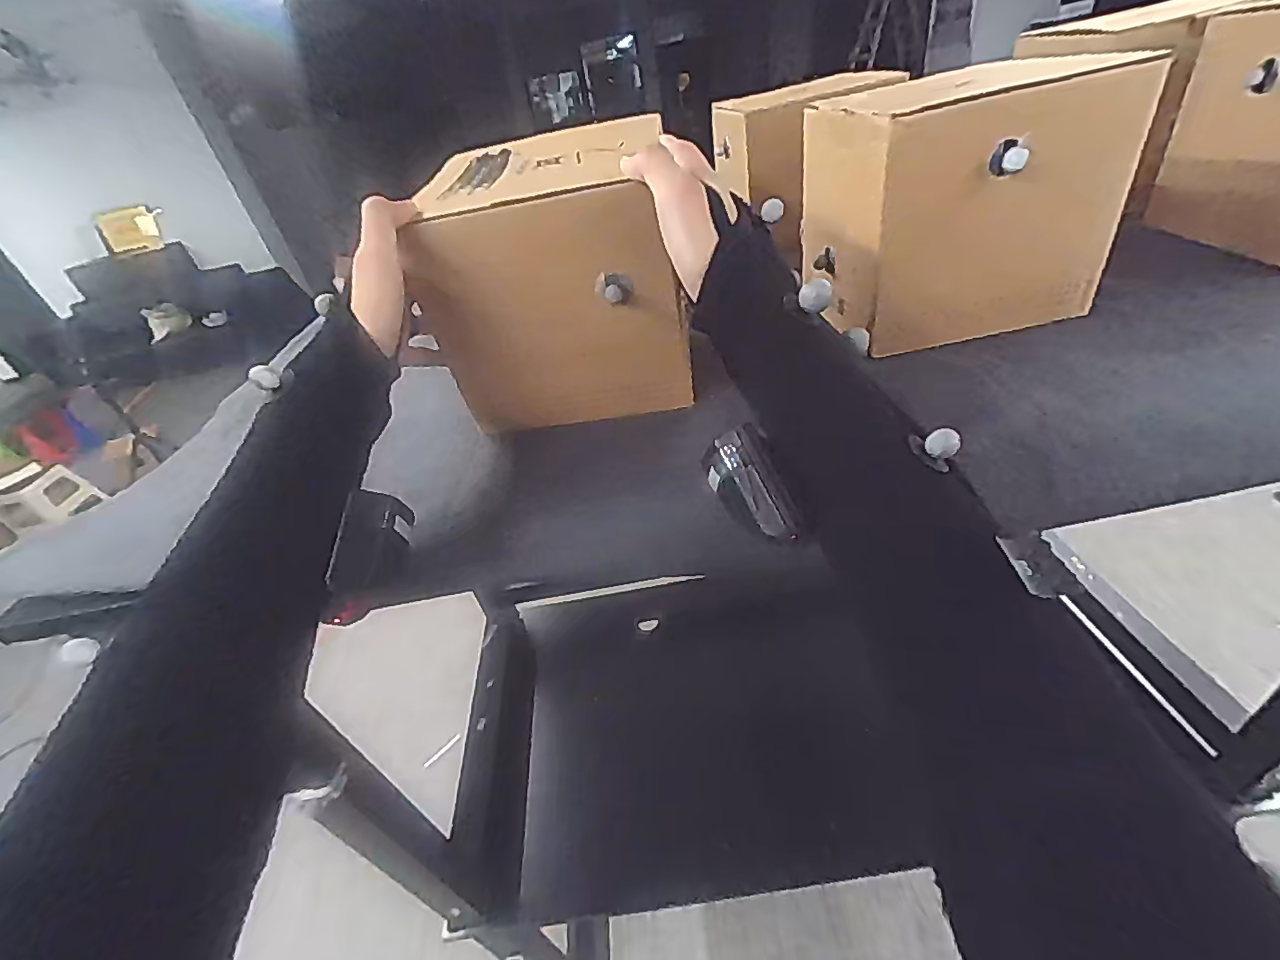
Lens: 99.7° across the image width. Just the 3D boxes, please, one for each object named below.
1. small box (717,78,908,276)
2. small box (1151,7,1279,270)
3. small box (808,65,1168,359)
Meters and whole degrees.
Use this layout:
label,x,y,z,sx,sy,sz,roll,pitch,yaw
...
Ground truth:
label,x,y,z,sx,sy,sz,roll,pitch,yaw
small box,0.192,-0.361,0.648,0.168,0.176,0.179,-11,37,3
small box,0.567,-0.276,0.422,0.168,0.176,0.179,-7,37,8
small box,0.248,-0.220,0.445,0.179,0.176,0.168,-11,36,2
